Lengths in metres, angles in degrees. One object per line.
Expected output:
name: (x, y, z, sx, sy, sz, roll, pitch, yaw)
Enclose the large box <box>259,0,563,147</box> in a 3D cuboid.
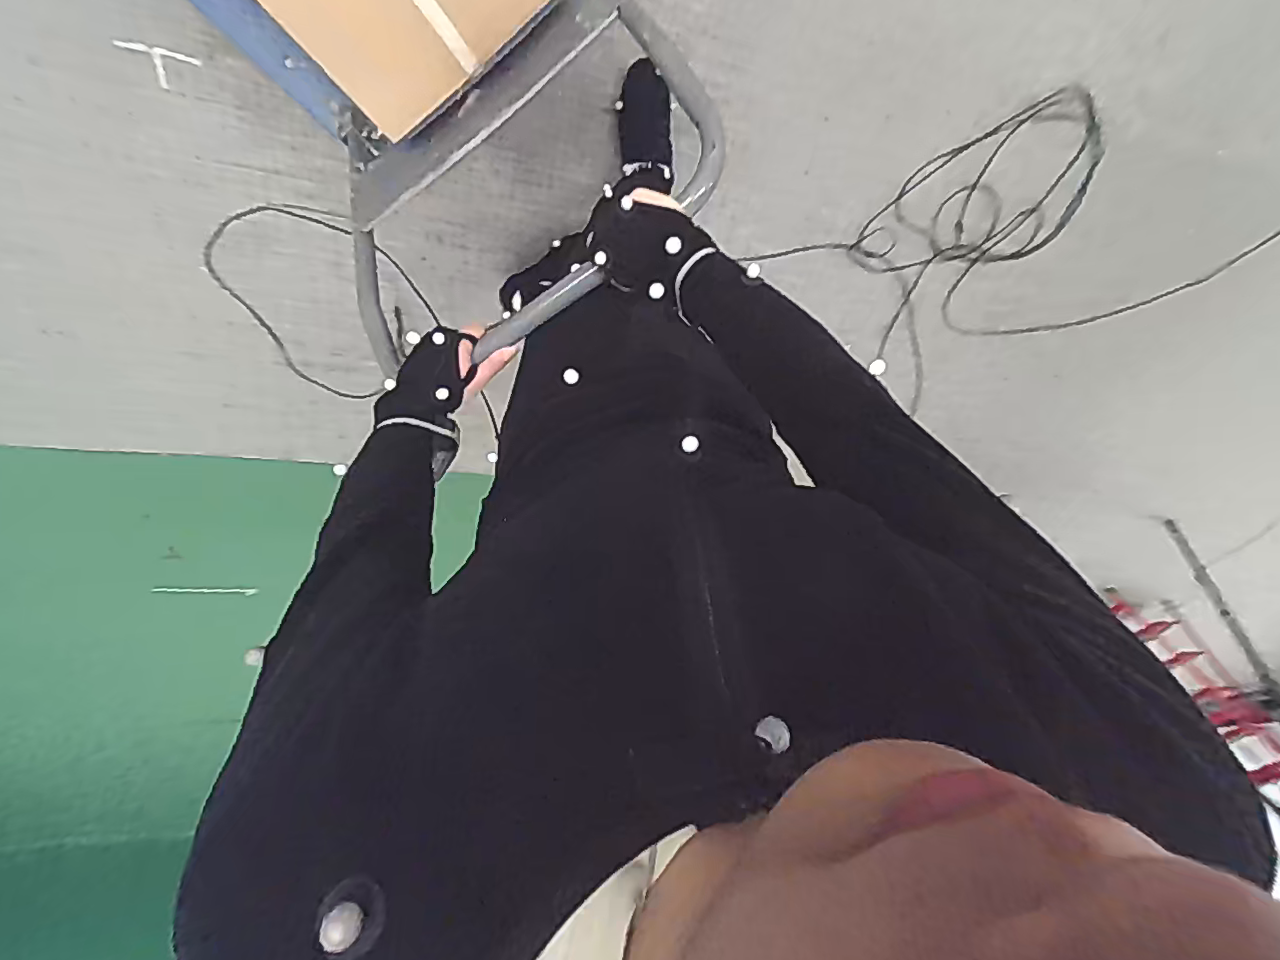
large box: (-0.360, -0.758, 0.697, 0.320, 0.320, 0.408, -30, 144, 16)
